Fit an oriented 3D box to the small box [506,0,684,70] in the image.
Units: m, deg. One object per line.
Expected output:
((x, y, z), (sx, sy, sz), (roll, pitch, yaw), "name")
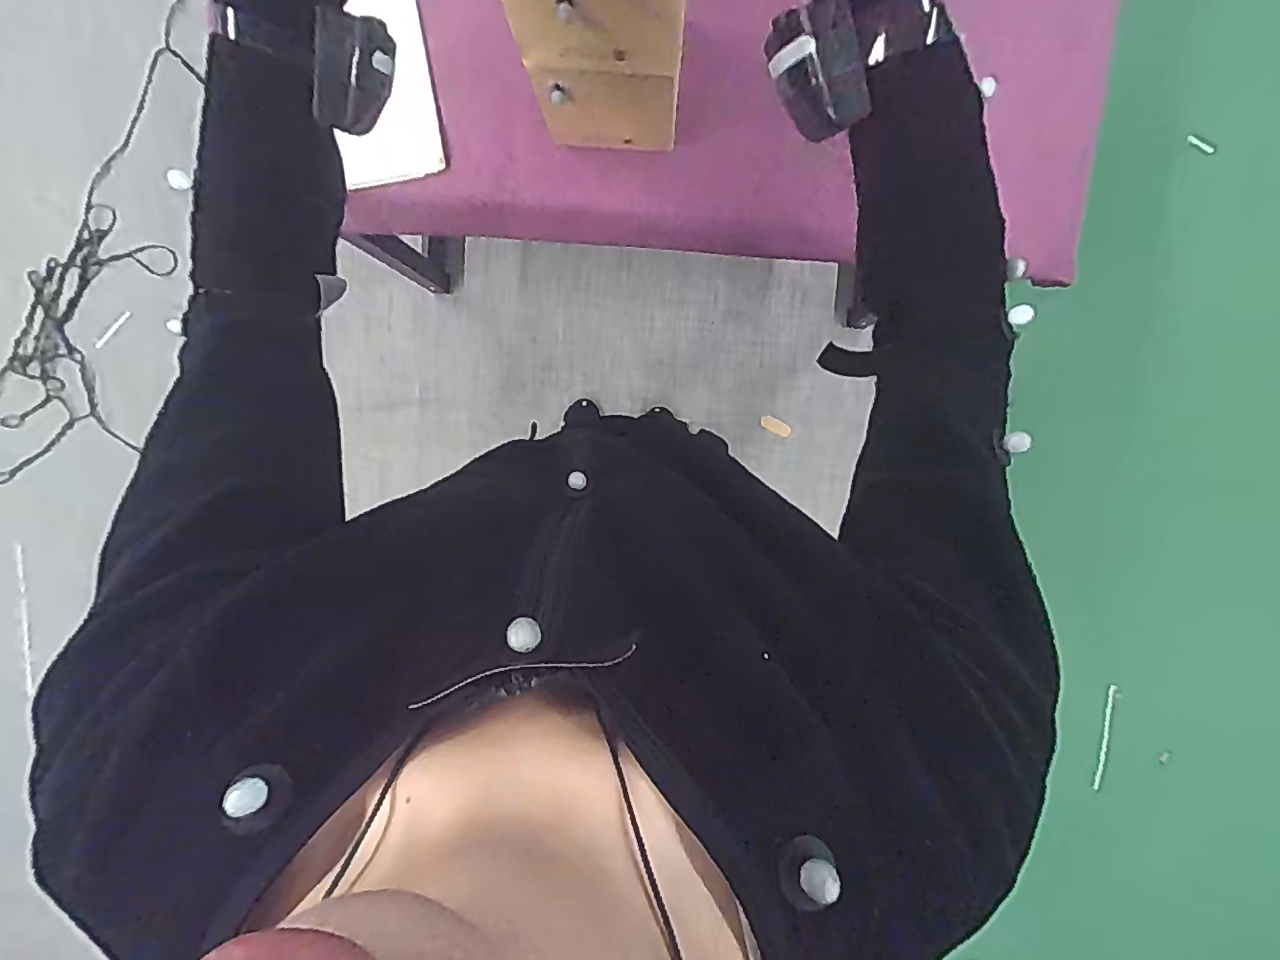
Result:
((-0.038, -0.516, 0.489), (0.168, 0.176, 0.179), (5, 94, 1), "small box")
